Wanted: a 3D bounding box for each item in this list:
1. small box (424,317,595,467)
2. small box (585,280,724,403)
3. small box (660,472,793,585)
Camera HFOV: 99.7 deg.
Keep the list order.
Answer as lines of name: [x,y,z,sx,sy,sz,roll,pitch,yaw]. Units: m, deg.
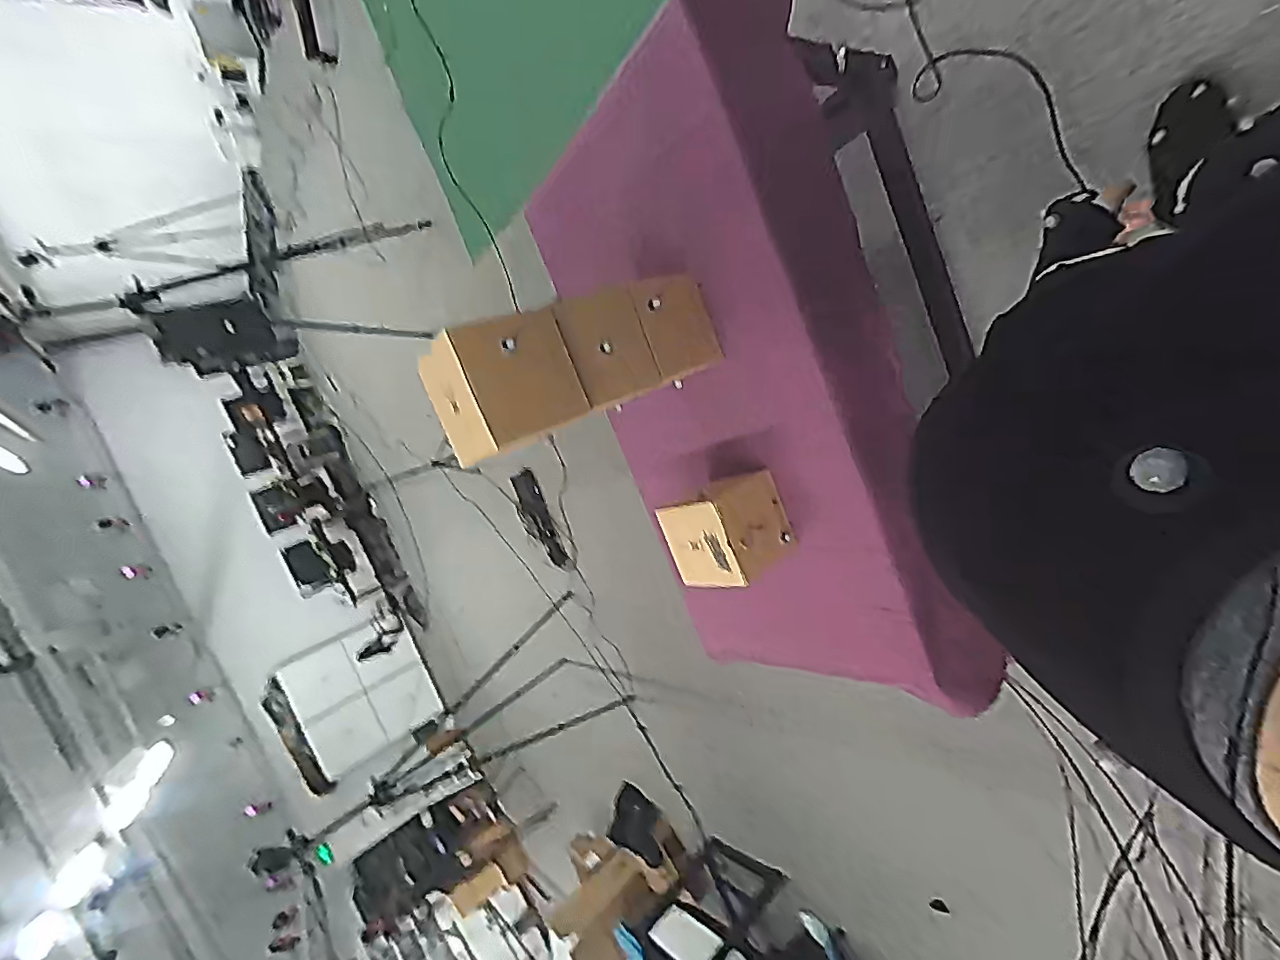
small box: [-0.200,-0.139,0.834,0.168,0.176,0.179,-13,101,55]
small box: [0.028,-0.267,1.032,0.168,0.176,0.179,-13,100,54]
small box: [0.177,0.095,1.071,0.179,0.176,0.168,-15,99,55]
